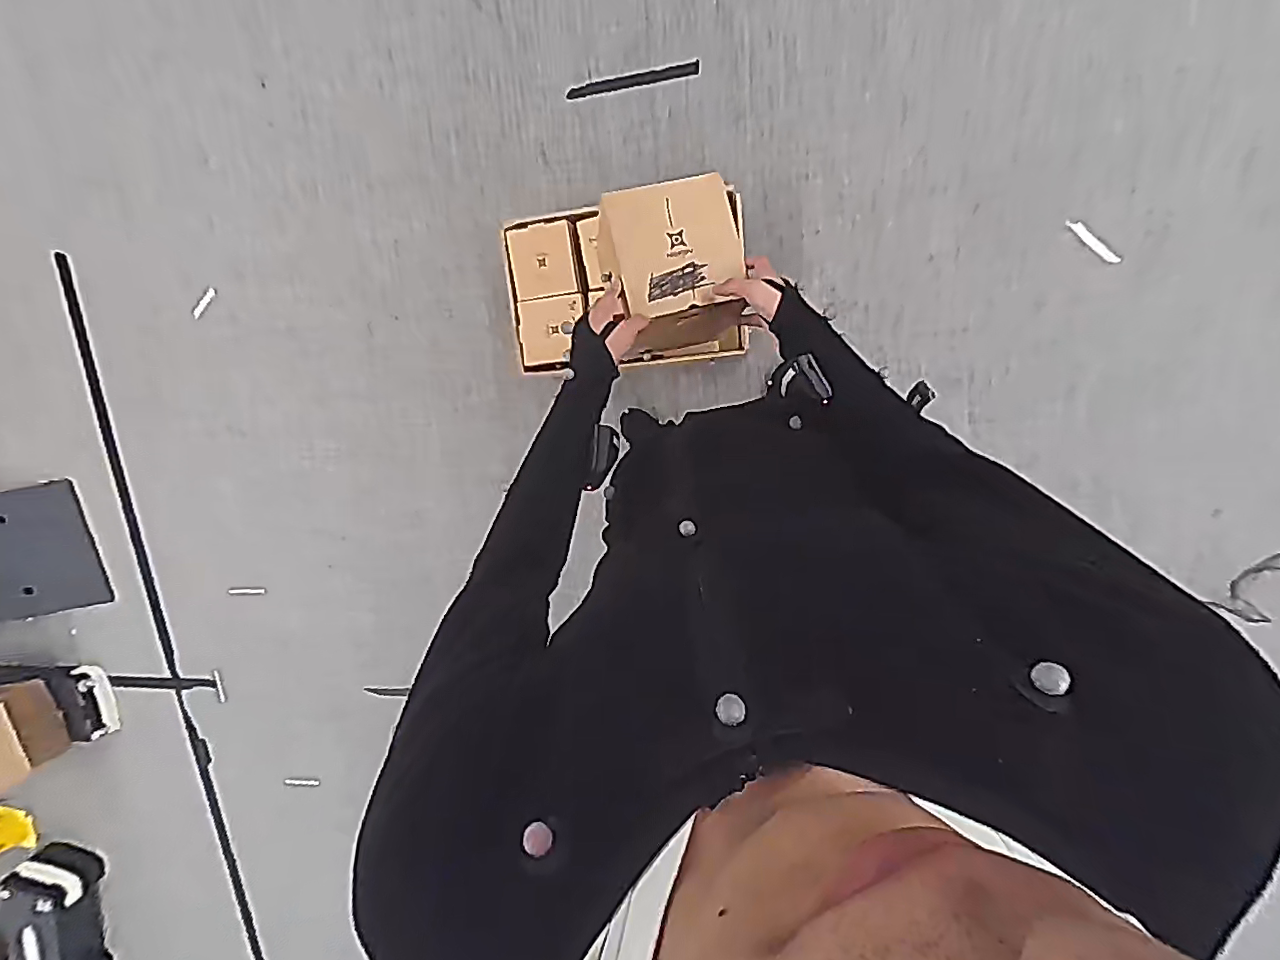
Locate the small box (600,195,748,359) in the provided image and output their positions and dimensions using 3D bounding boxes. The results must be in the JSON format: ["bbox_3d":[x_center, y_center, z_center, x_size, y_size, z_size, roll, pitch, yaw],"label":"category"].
[{"bbox_3d":[0.040,-0.276,0.773,0.168,0.176,0.179,-7,89,-11],"label":"small box"}]
